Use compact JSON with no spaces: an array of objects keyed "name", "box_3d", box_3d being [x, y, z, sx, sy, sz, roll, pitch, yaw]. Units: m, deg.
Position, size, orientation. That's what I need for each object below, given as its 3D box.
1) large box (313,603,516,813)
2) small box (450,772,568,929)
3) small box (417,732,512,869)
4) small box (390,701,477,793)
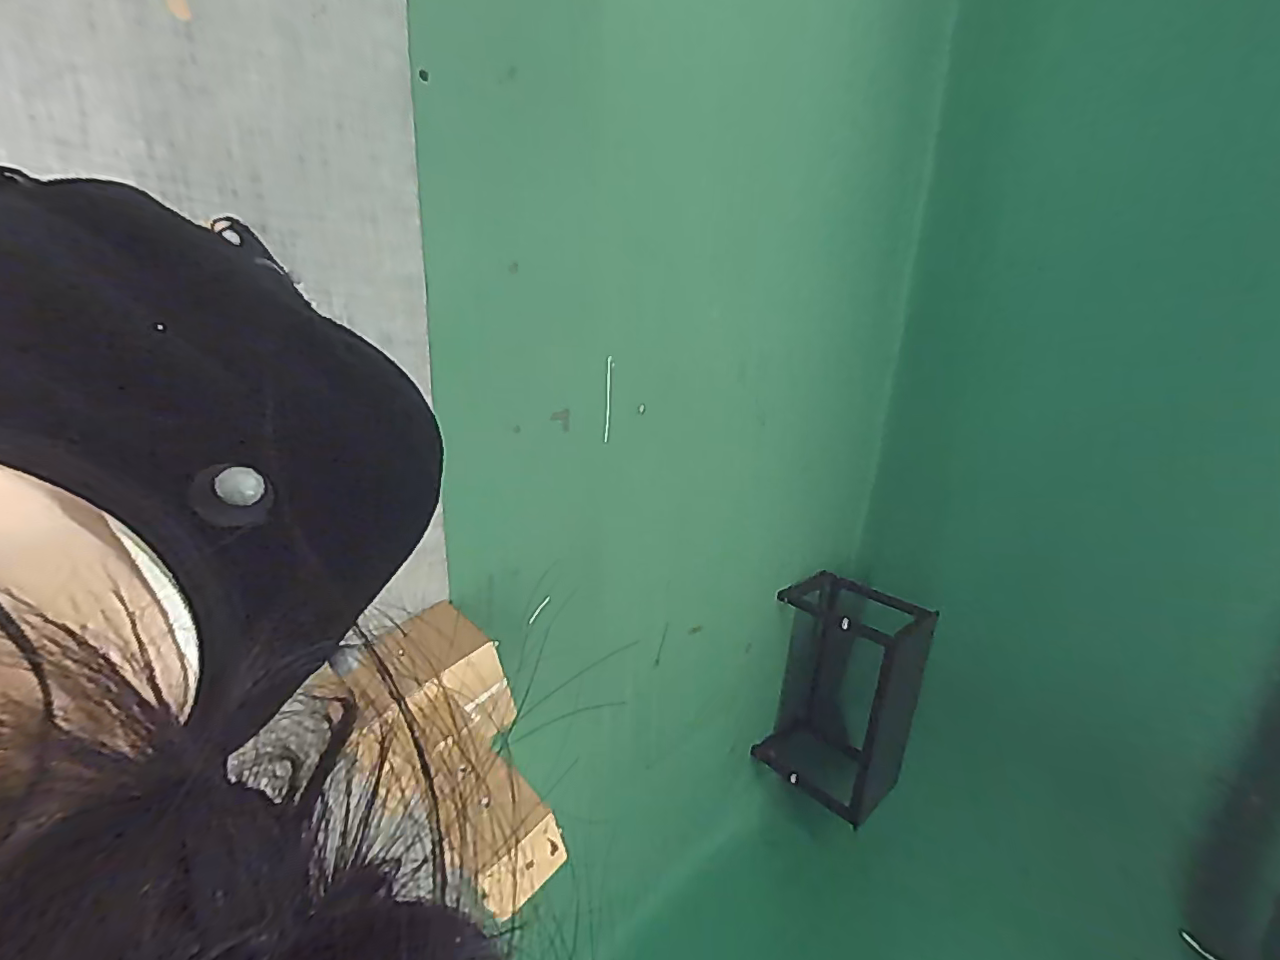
[{"name":"large box","box_3d":[-0.644,0.633,1.572,0.408,0.320,0.320,-30,124,-36]},{"name":"small box","box_3d":[-0.283,0.775,1.149,0.179,0.176,0.168,-28,122,-34]},{"name":"small box","box_3d":[-0.398,0.736,1.260,0.179,0.176,0.168,-30,123,-35]},{"name":"small box","box_3d":[-0.508,0.694,1.374,0.168,0.176,0.179,-28,122,-35]}]
